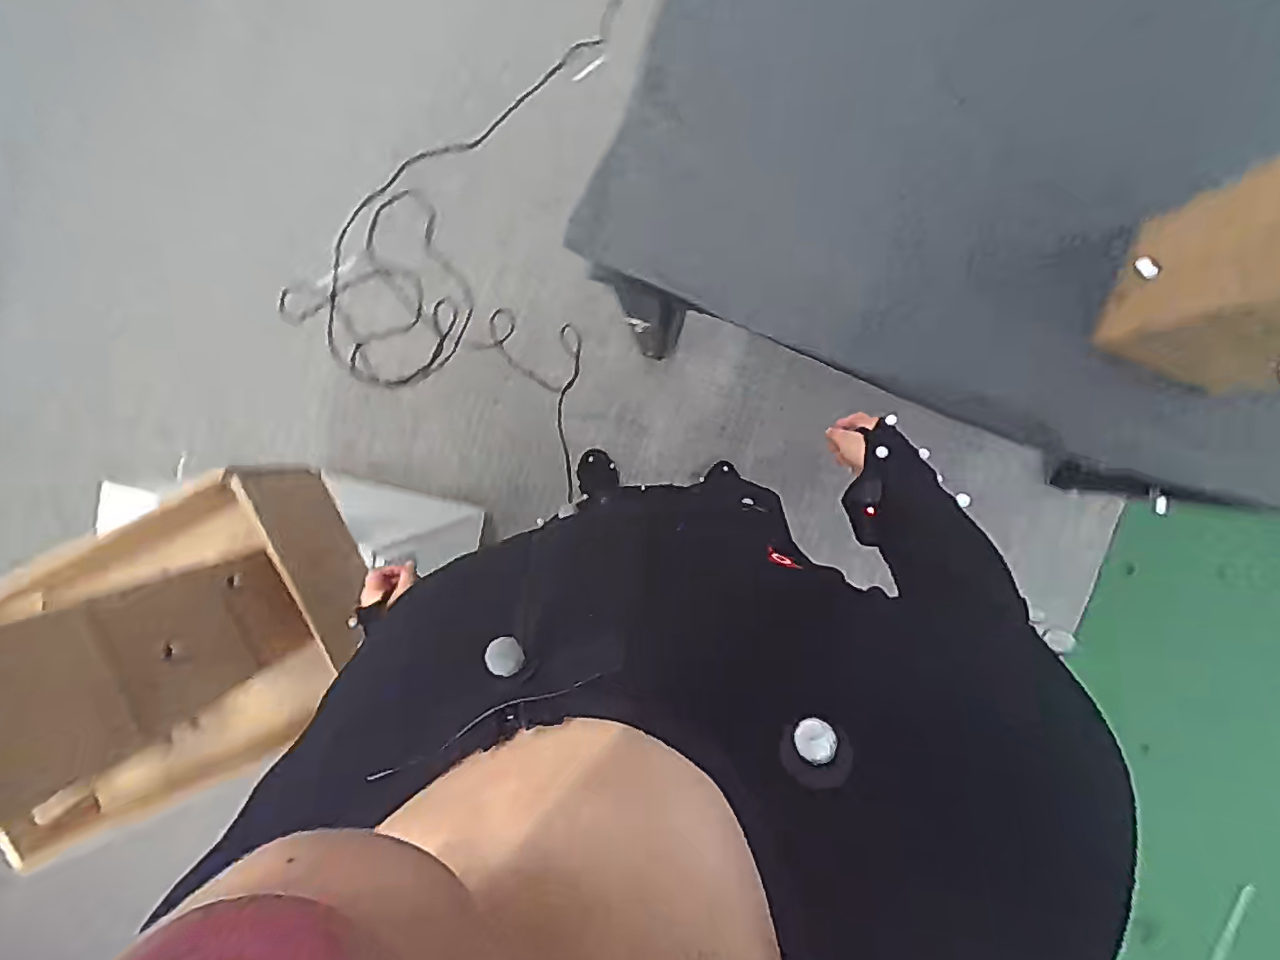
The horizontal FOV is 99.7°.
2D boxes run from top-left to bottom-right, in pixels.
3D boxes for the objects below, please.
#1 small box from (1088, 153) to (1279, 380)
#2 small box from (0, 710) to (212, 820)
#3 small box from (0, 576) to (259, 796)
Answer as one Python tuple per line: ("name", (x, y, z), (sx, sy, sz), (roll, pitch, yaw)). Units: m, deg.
("small box", (0.678, -0.221, 0.609), (0.179, 0.176, 0.168), (22, 93, 3))
("small box", (-0.830, 0.371, 0.850), (0.179, 0.176, 0.168), (-35, 91, 4))
("small box", (-0.627, 0.232, 0.661), (0.168, 0.176, 0.179), (-24, 94, 7))
